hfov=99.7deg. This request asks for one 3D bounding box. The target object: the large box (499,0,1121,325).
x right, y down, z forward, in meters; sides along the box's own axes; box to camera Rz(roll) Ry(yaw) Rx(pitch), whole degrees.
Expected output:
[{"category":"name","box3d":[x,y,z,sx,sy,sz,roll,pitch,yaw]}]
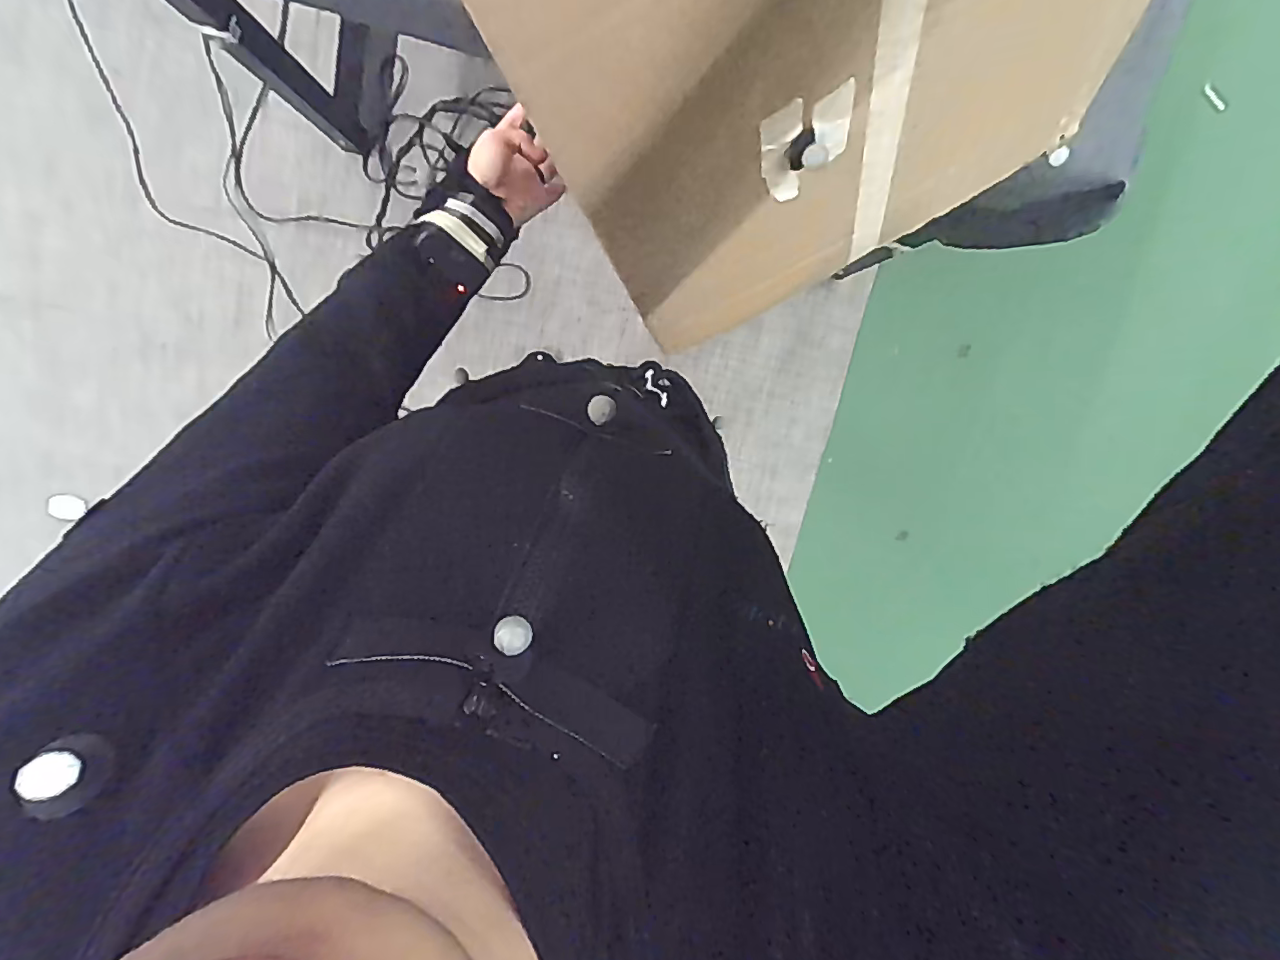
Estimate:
[{"category":"large box","box3d":[0.045,-0.355,0.256,0.320,0.408,0.320,-28,73,10]}]
